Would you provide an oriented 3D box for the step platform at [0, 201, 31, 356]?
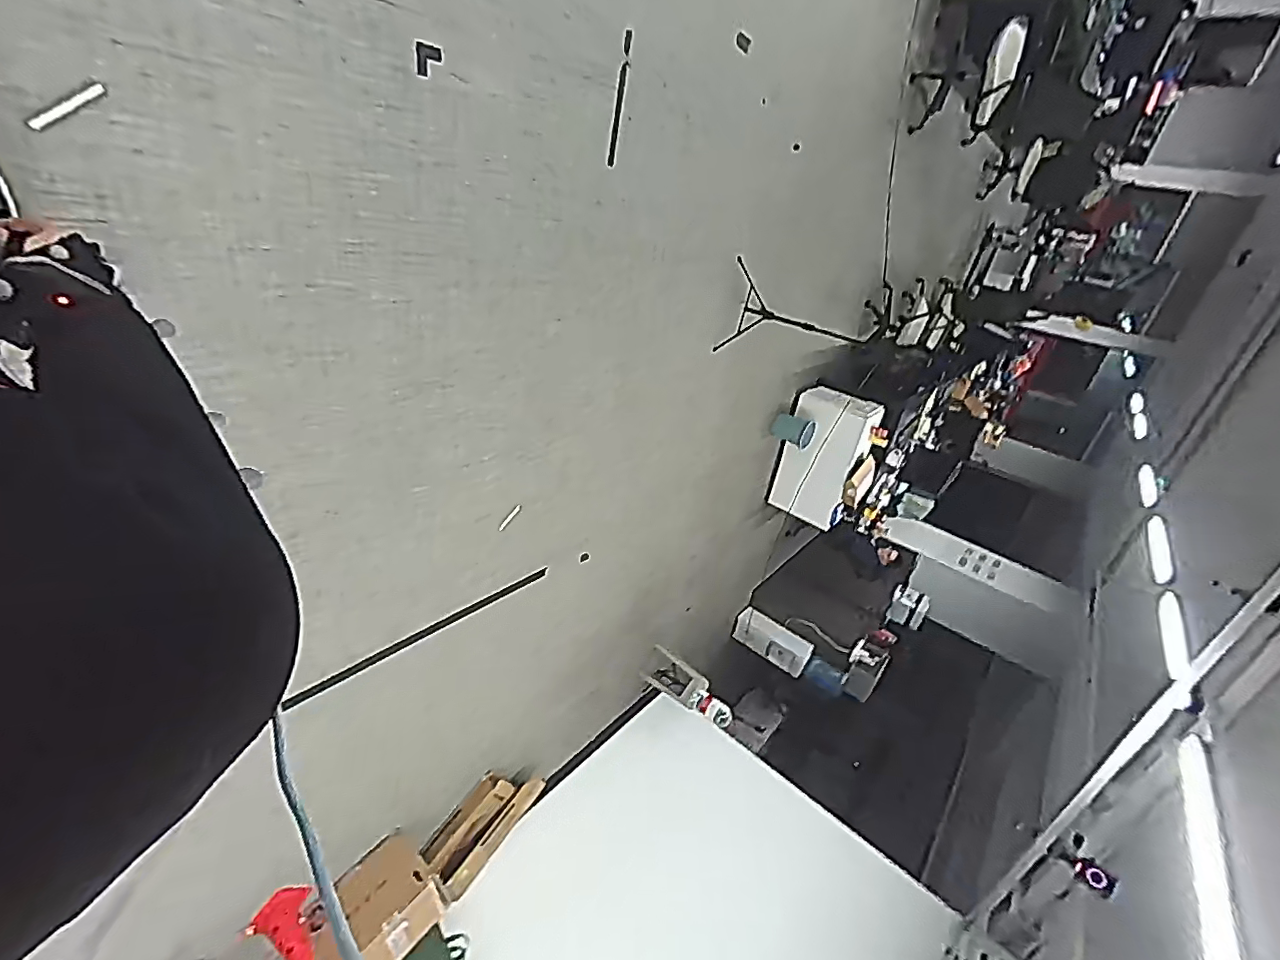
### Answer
[{"bbox_3d":[-1.296,-0.311,0.691,0.684,0.204,0.286,-16,125,-49],"label":"step platform"}]
